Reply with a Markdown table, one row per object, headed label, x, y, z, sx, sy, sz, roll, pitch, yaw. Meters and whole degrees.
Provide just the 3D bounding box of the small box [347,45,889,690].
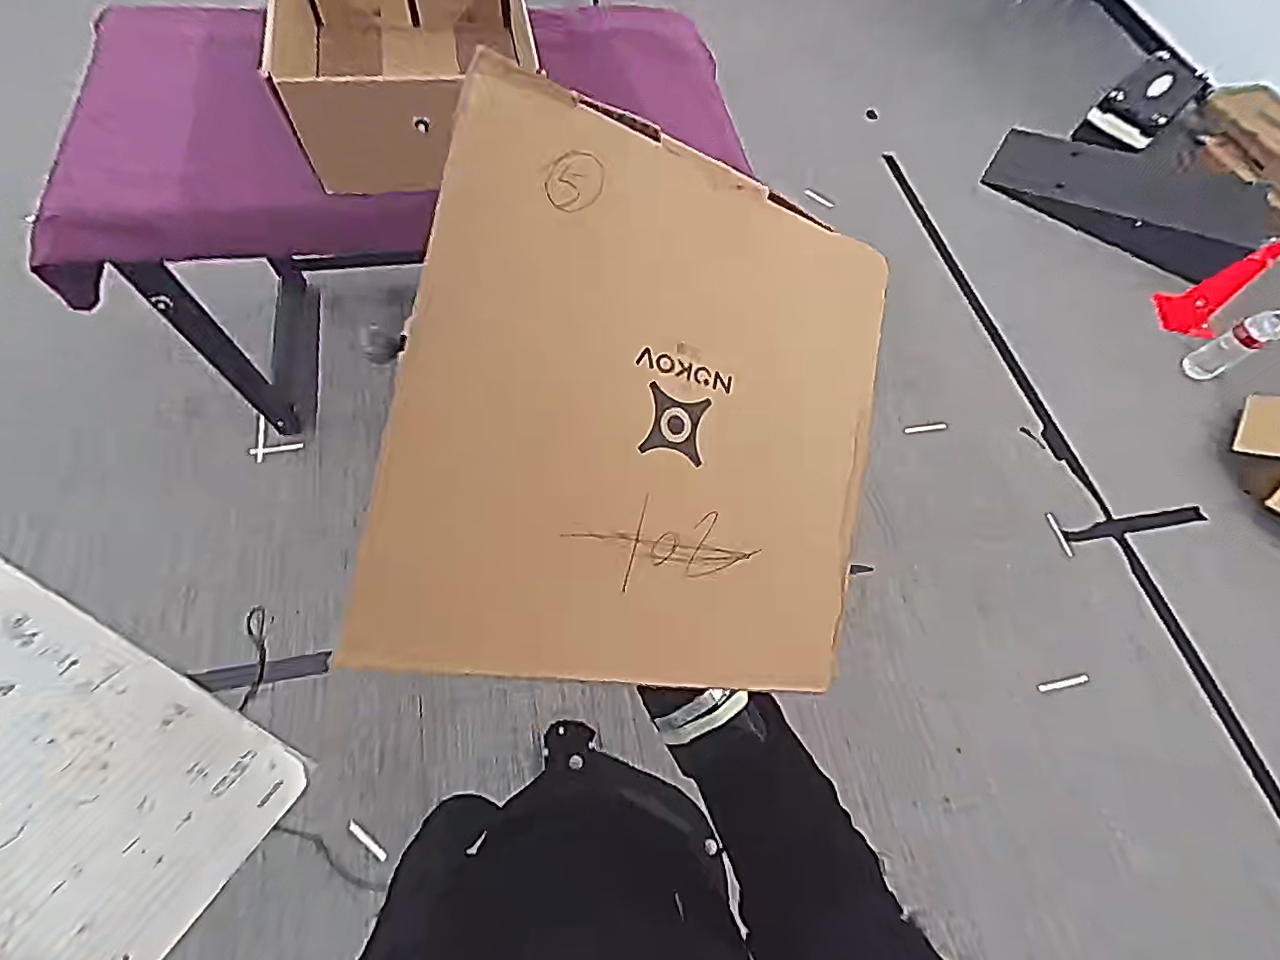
| label | x | y | z | sx | sy | sz | roll | pitch | yaw |
| --- | --- | --- | --- | --- | --- | --- | --- | --- | --- |
| small box | -0.021 | -0.022 | 0.247 | 0.168 | 0.176 | 0.179 | 12 | 85 | -24 |
